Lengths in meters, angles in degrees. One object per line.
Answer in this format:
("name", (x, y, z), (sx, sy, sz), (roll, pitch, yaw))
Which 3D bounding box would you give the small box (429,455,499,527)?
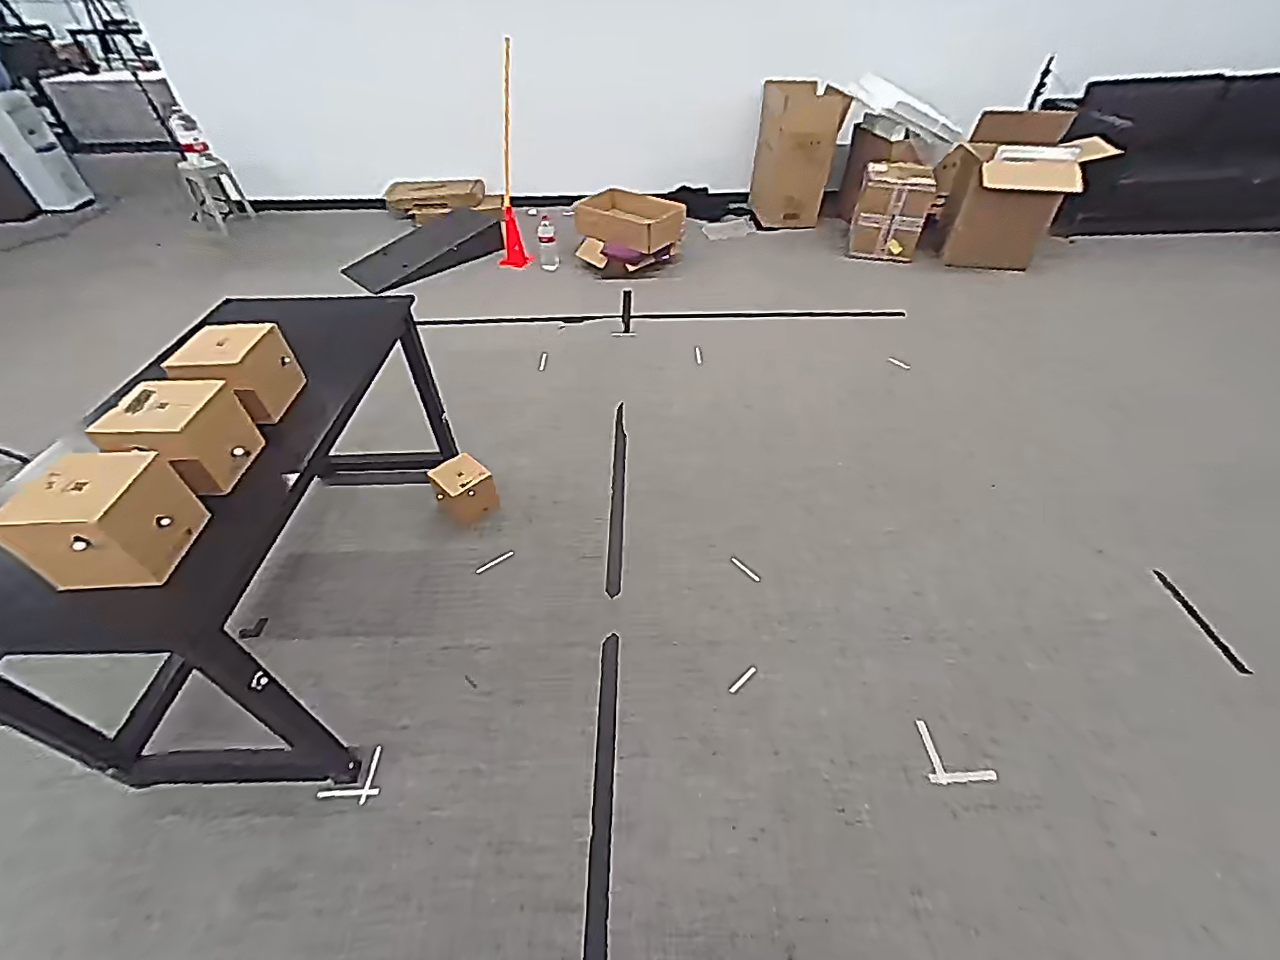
("small box", (-0.650, 0.042, 2.009), (0.179, 0.176, 0.168), (33, 54, 30))

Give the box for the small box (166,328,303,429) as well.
("small box", (-0.926, -0.236, 1.261), (0.168, 0.176, 0.179), (-3, 45, 0))

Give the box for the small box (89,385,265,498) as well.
("small box", (-0.918, -0.076, 1.094), (0.179, 0.176, 0.168), (-1, 45, 0))
